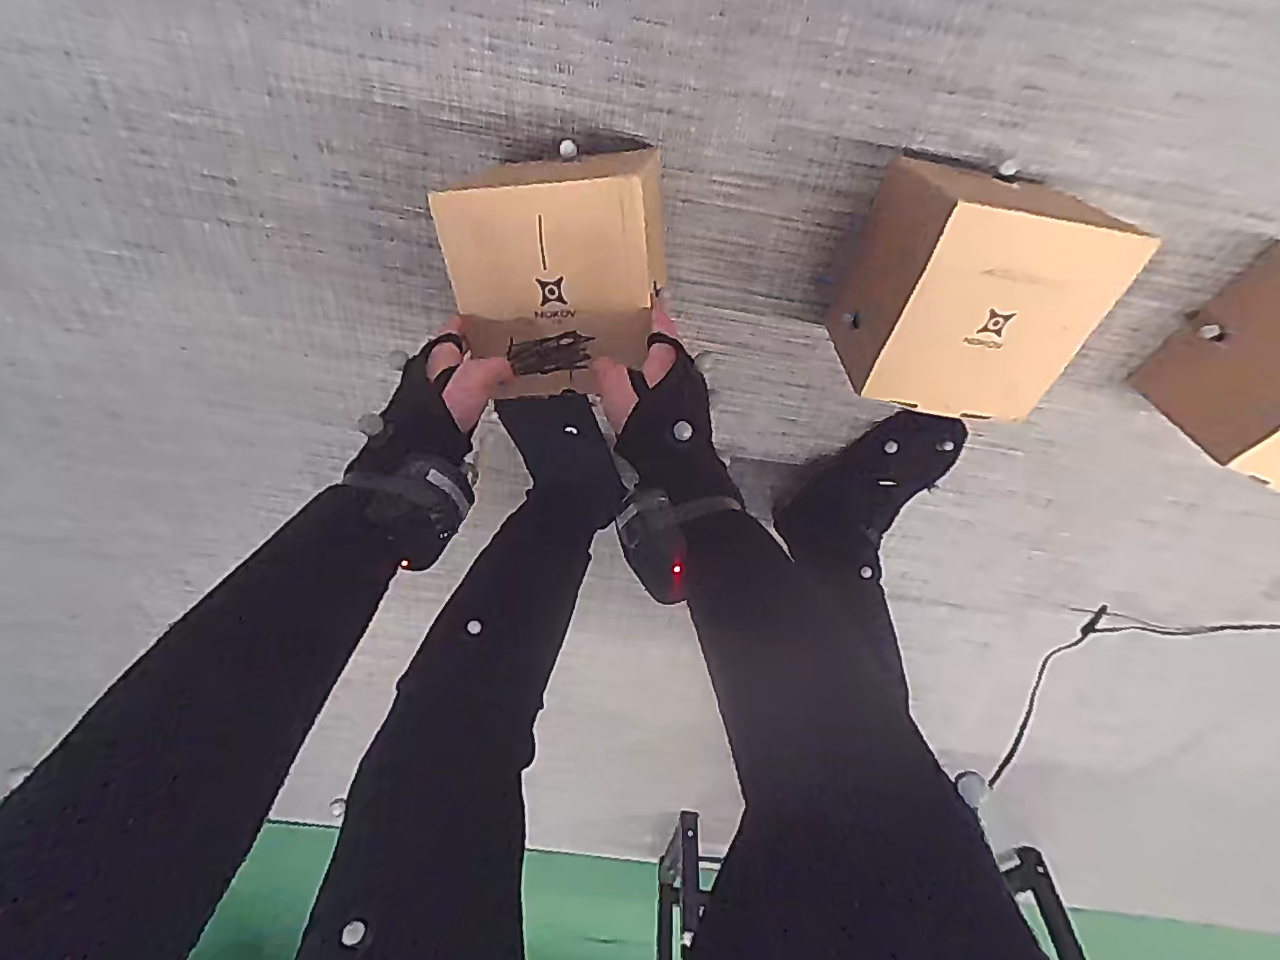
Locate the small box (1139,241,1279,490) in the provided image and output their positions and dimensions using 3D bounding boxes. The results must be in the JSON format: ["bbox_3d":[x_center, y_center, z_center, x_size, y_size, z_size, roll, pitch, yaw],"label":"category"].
[{"bbox_3d":[0.674,-0.109,0.552,0.168,0.176,0.179,17,133,-10],"label":"small box"}]

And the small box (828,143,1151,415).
[{"bbox_3d":[0.294,-0.190,0.512,0.168,0.176,0.179,9,132,-5],"label":"small box"}]

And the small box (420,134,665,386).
[{"bbox_3d":[-0.067,-0.204,0.500,0.168,0.176,0.179,0,127,8],"label":"small box"}]
